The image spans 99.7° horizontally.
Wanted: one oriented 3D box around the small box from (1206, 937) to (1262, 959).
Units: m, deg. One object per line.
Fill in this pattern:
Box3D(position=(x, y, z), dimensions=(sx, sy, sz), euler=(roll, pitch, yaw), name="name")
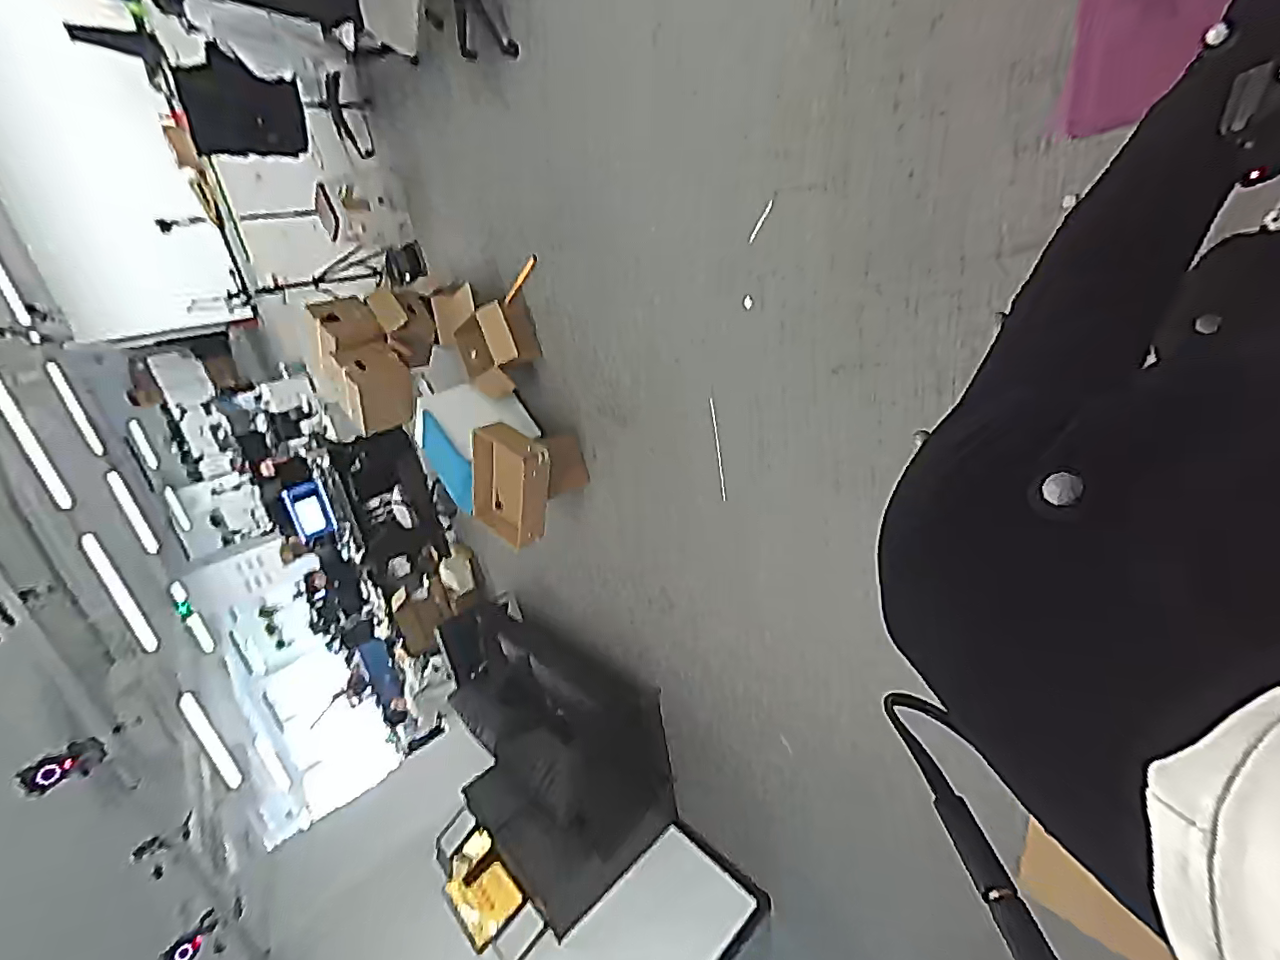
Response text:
Box3D(position=(1.628, 1.399, 1.445), dimensions=(0.168, 0.176, 0.179), euler=(6, 115, 50), name="small box")
